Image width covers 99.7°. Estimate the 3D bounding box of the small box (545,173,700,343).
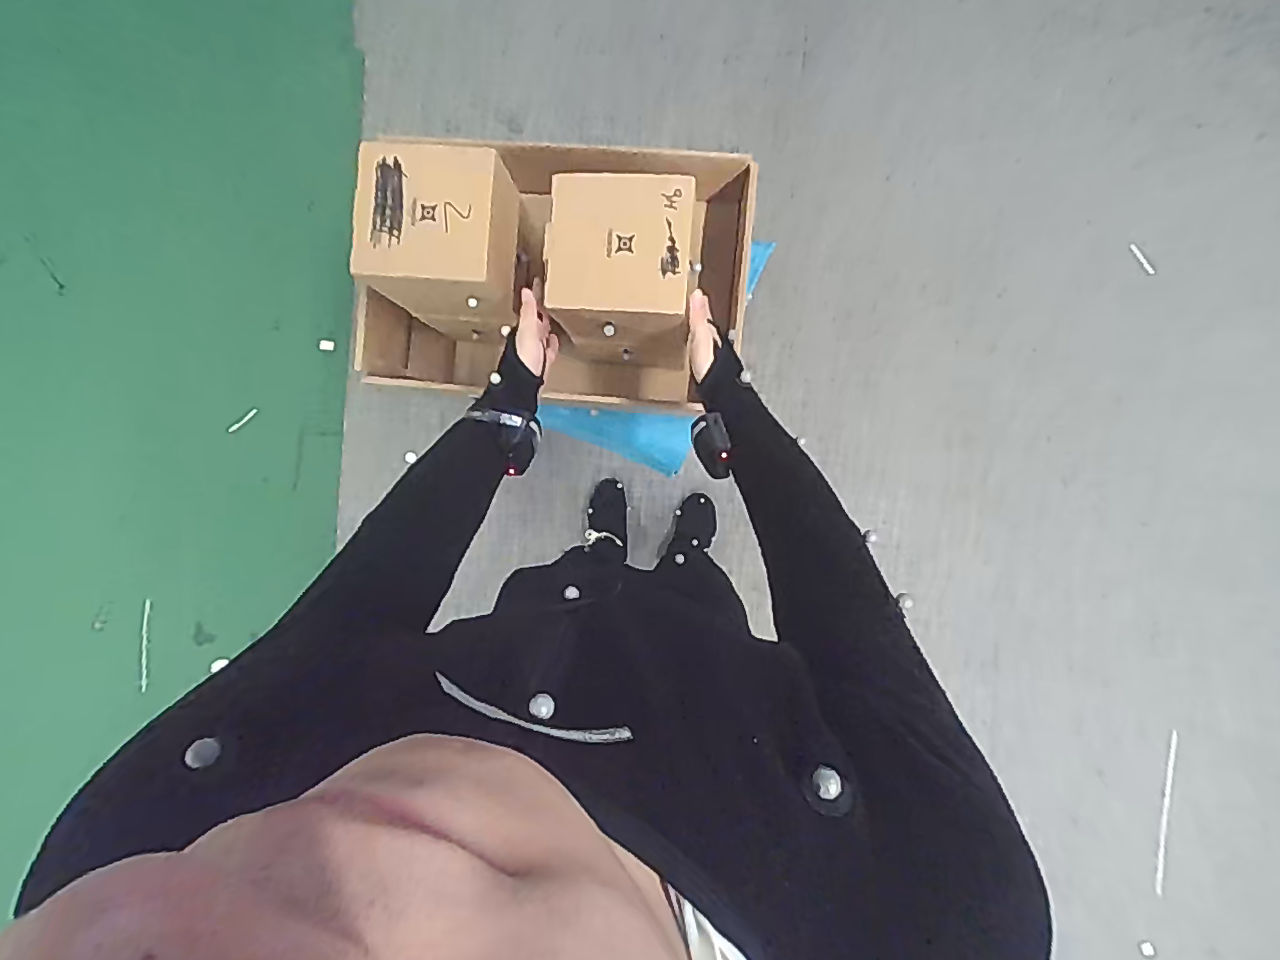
[{"bbox_3d":[-0.014,-0.287,0.731,0.179,0.176,0.168,5,92,7],"label":"small box"}]
